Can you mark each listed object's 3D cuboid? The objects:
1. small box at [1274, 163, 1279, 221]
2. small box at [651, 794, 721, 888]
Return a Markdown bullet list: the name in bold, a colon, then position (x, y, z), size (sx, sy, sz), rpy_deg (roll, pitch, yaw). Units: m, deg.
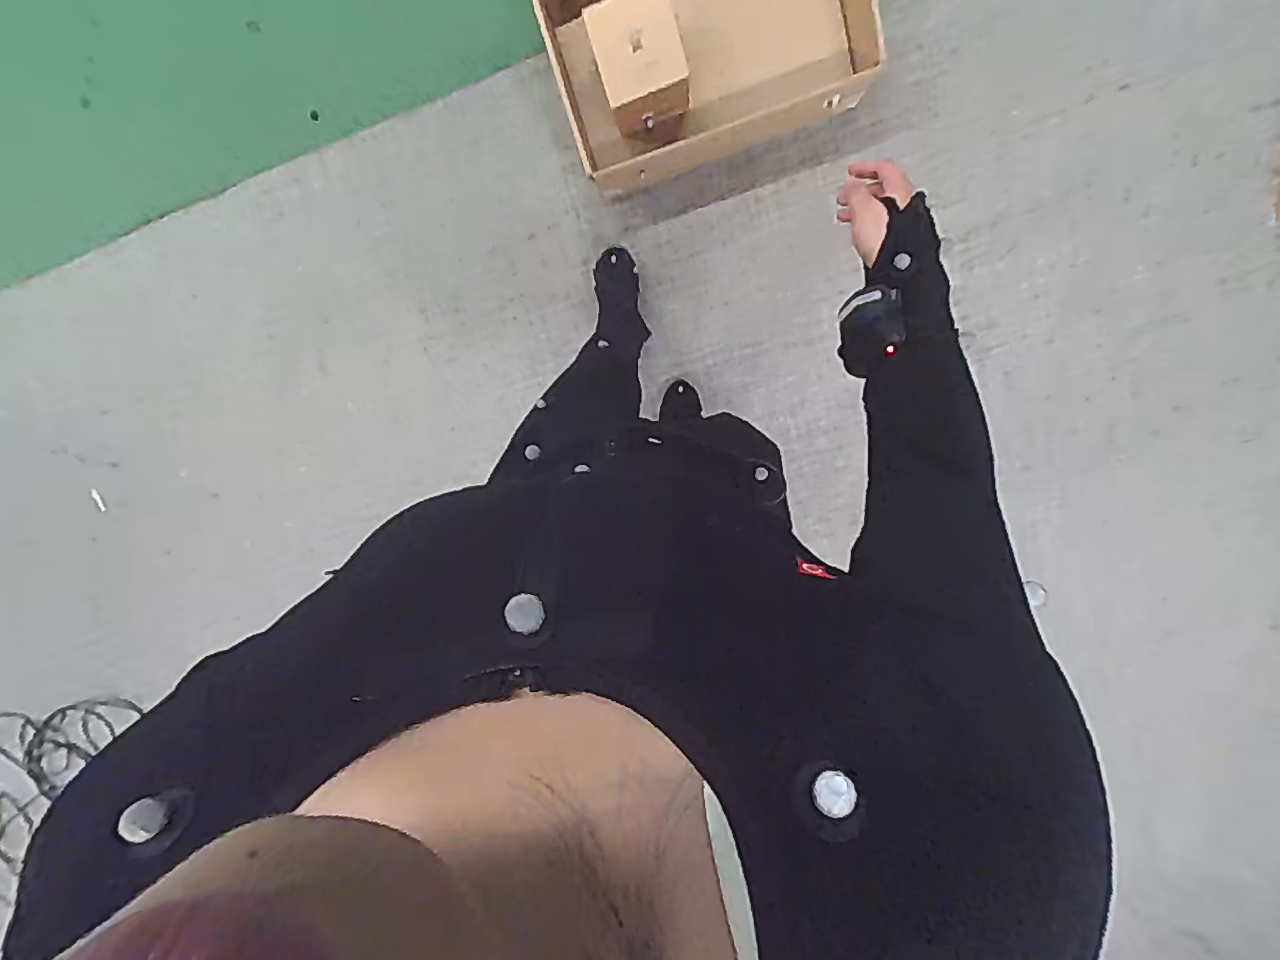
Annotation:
- **small box**: position (1.474, -0.642, 1.095), size (0.179, 0.176, 0.168), rpy_deg (-11, 104, 8)
- **small box**: position (0.143, 1.139, 1.718), size (0.179, 0.176, 0.168), rpy_deg (-19, 103, 9)
